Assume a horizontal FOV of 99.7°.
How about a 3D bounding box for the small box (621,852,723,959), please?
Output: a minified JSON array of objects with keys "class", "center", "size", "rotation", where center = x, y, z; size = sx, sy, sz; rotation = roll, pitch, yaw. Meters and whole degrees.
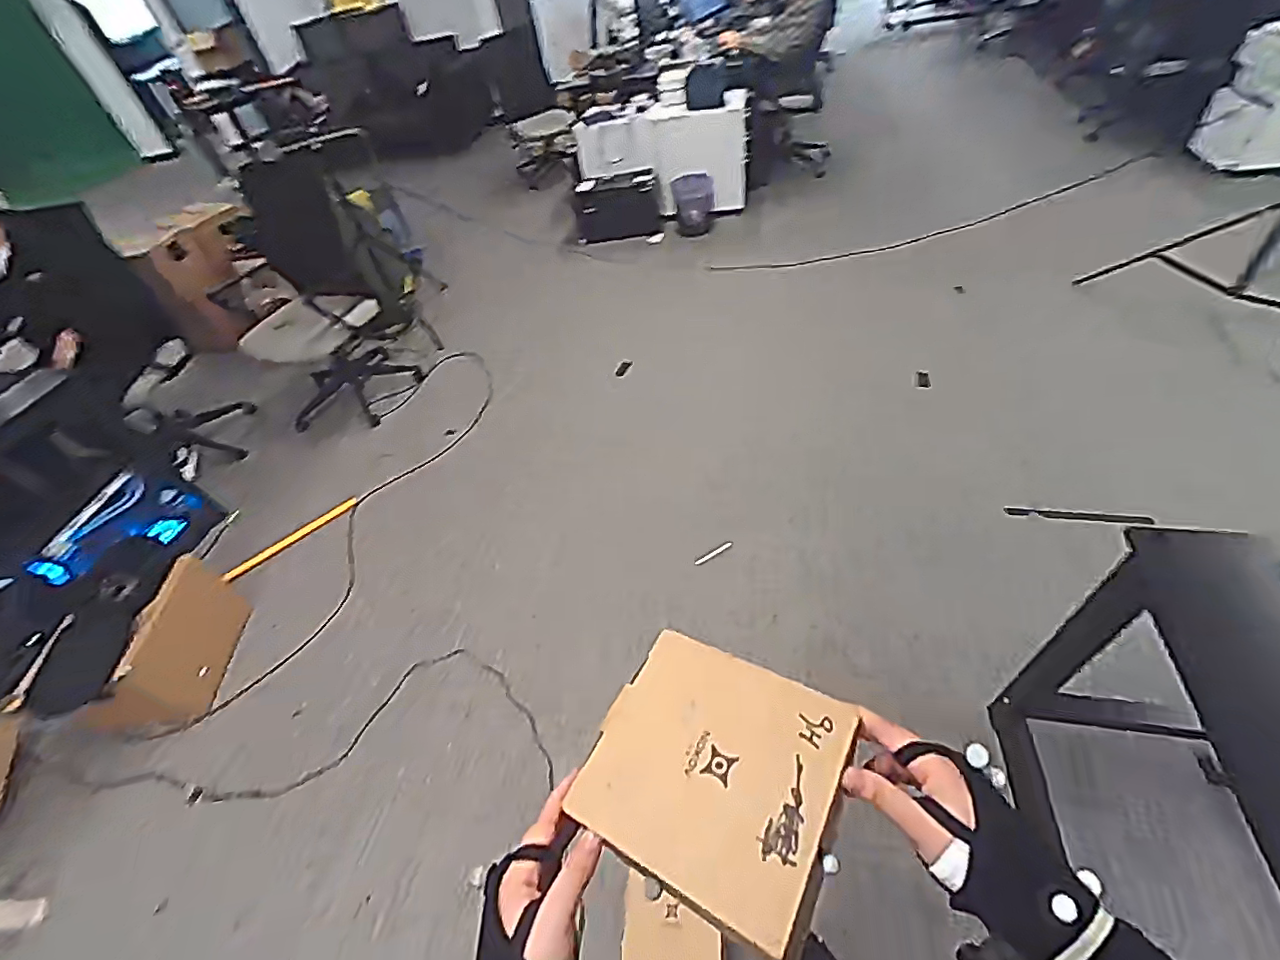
[{"class":"small box","center":[0.065,0.800,0.983],"size":[0.168,0.176,0.179],"rotation":[-2,46,8]}]
